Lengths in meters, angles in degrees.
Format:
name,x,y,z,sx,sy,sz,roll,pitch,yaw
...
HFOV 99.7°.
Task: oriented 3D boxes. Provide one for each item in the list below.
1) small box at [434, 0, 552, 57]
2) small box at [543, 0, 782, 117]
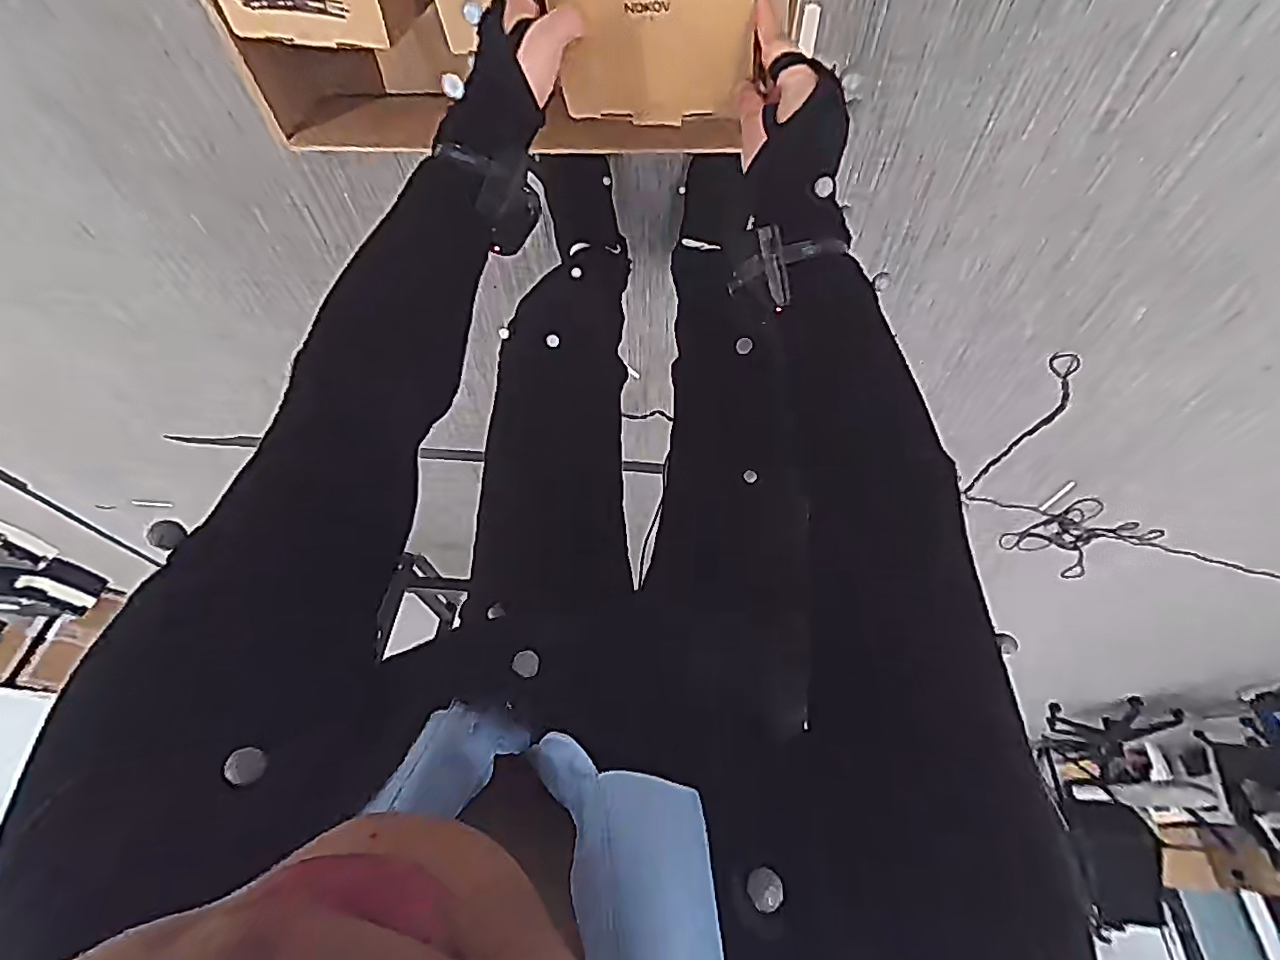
name,x,y,z,sx,sy,sz,roll,pitch,yaw
small box,-0.115,-0.553,0.528,0.168,0.176,0.179,2,146,6
small box,0.025,-0.423,0.432,0.168,0.176,0.179,11,147,15
